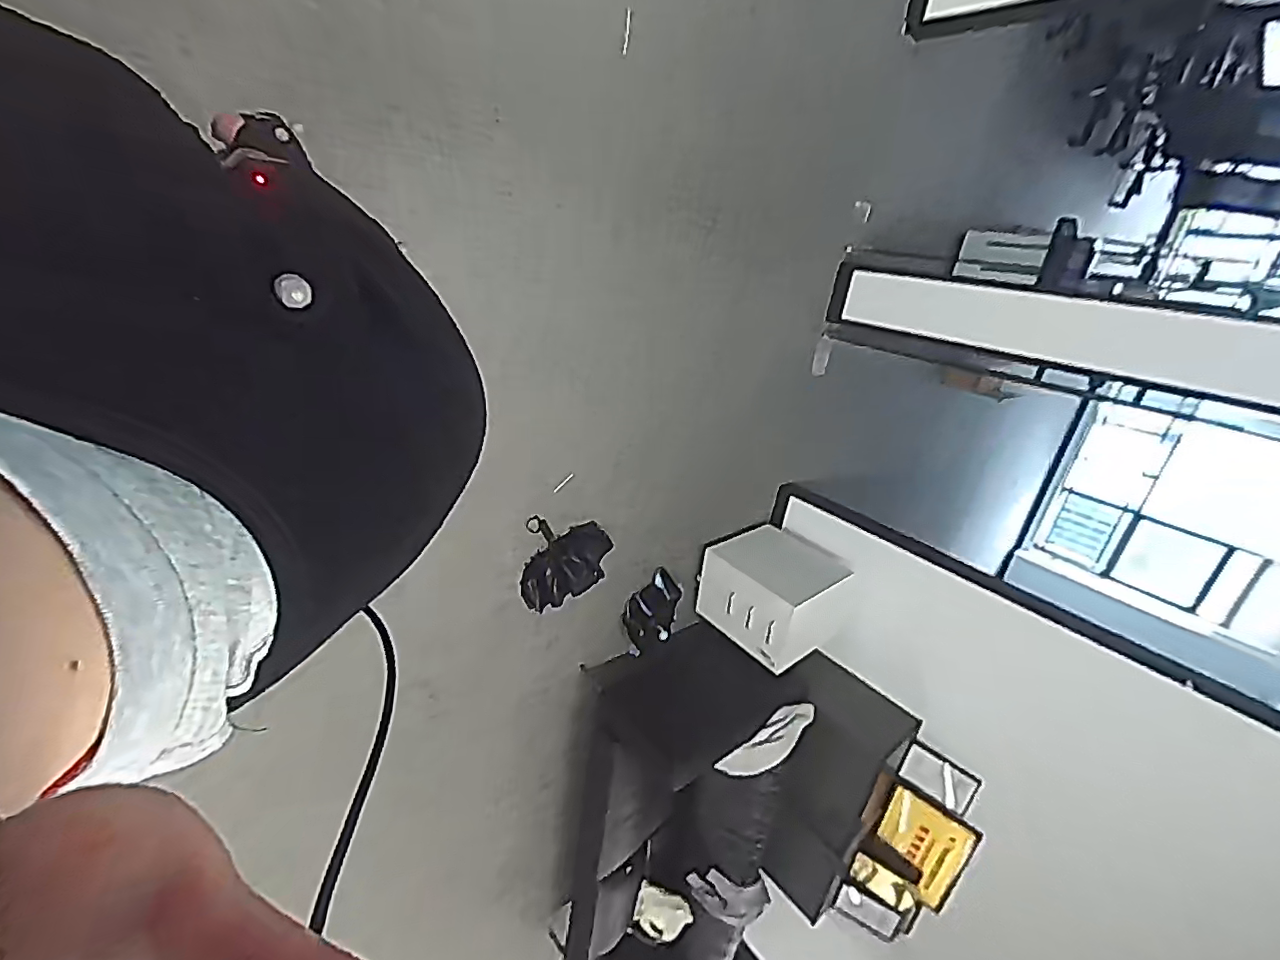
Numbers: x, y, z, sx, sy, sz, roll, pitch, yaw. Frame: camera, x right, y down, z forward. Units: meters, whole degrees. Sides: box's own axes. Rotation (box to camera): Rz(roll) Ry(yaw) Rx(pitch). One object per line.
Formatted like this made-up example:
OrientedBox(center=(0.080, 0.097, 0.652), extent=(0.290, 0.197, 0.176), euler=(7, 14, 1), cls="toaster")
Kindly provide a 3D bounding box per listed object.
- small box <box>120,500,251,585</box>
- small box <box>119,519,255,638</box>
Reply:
OrientedBox(center=(-1.077, 0.173, 1.285), extent=(0.168, 0.176, 0.179), euler=(-52, 137, -10), cls="small box")
OrientedBox(center=(-0.971, 0.211, 1.161), extent=(0.168, 0.176, 0.179), euler=(30, 89, -49), cls="small box")
